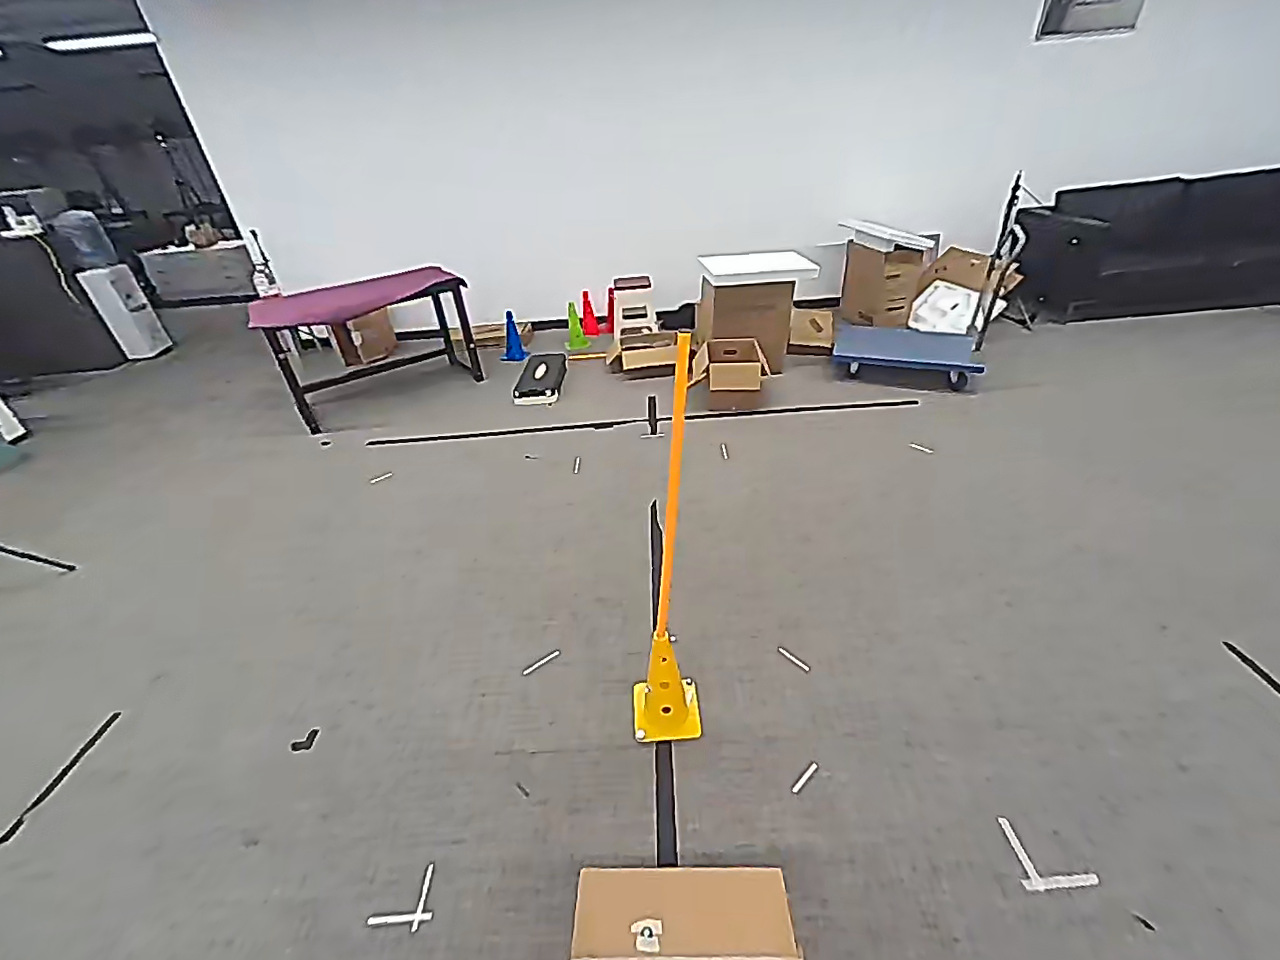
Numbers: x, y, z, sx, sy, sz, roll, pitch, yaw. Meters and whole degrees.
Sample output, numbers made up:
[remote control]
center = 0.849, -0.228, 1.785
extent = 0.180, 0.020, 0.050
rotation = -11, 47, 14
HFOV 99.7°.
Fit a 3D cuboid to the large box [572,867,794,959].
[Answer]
[large box]
center = 0.087, 0.989, 1.030
extent = 0.408, 0.320, 0.320
rotation = -3, 30, 2
